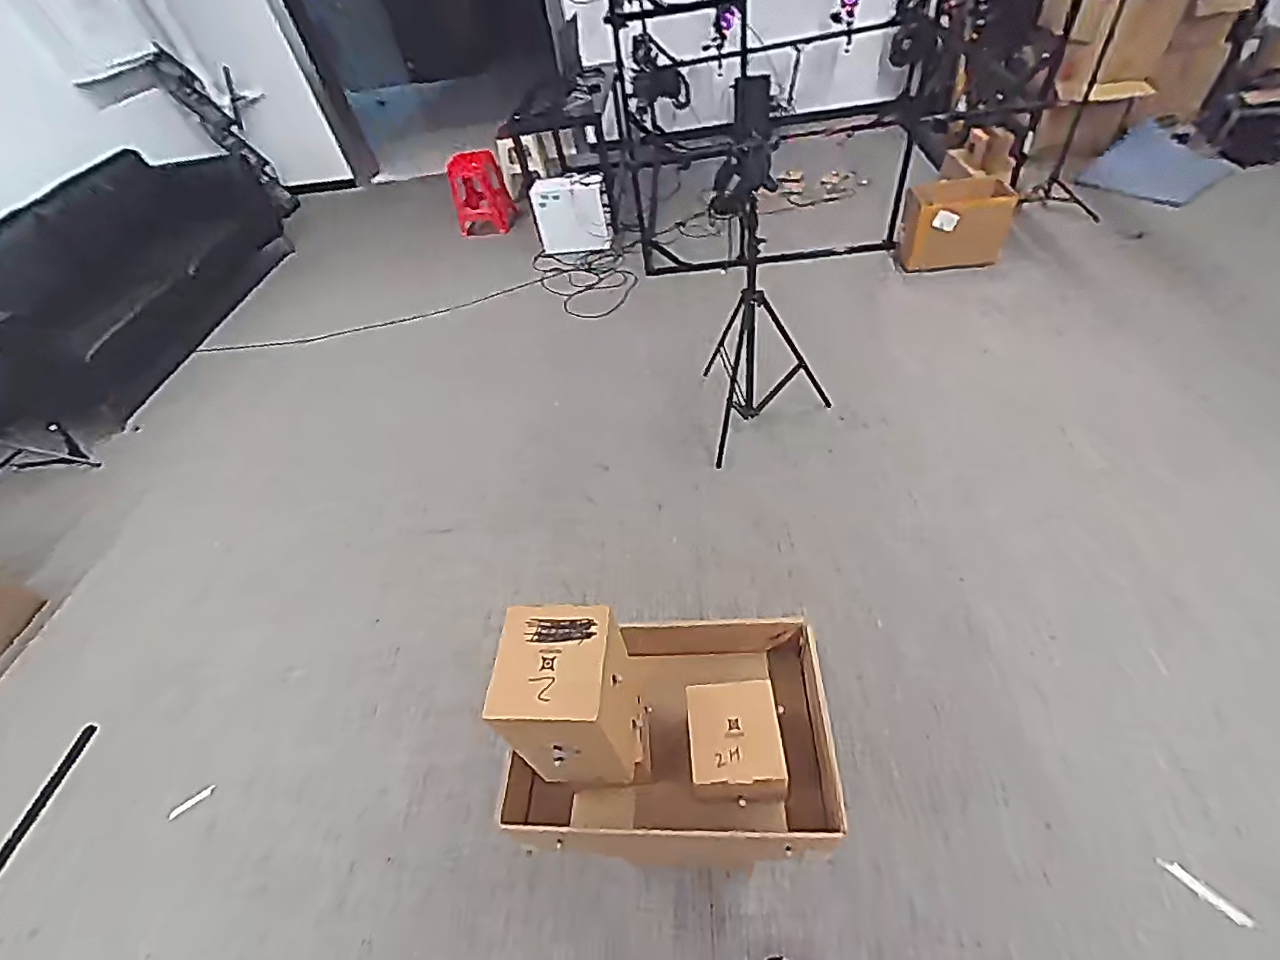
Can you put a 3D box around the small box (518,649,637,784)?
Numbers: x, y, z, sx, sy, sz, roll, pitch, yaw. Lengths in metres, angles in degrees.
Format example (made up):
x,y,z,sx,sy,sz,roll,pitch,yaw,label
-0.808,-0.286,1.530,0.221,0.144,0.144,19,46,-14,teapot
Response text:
x,y,z,sx,sy,sz,roll,pitch,yaw,label
-0.100,0.421,0.966,0.168,0.176,0.179,-4,47,8,small box
